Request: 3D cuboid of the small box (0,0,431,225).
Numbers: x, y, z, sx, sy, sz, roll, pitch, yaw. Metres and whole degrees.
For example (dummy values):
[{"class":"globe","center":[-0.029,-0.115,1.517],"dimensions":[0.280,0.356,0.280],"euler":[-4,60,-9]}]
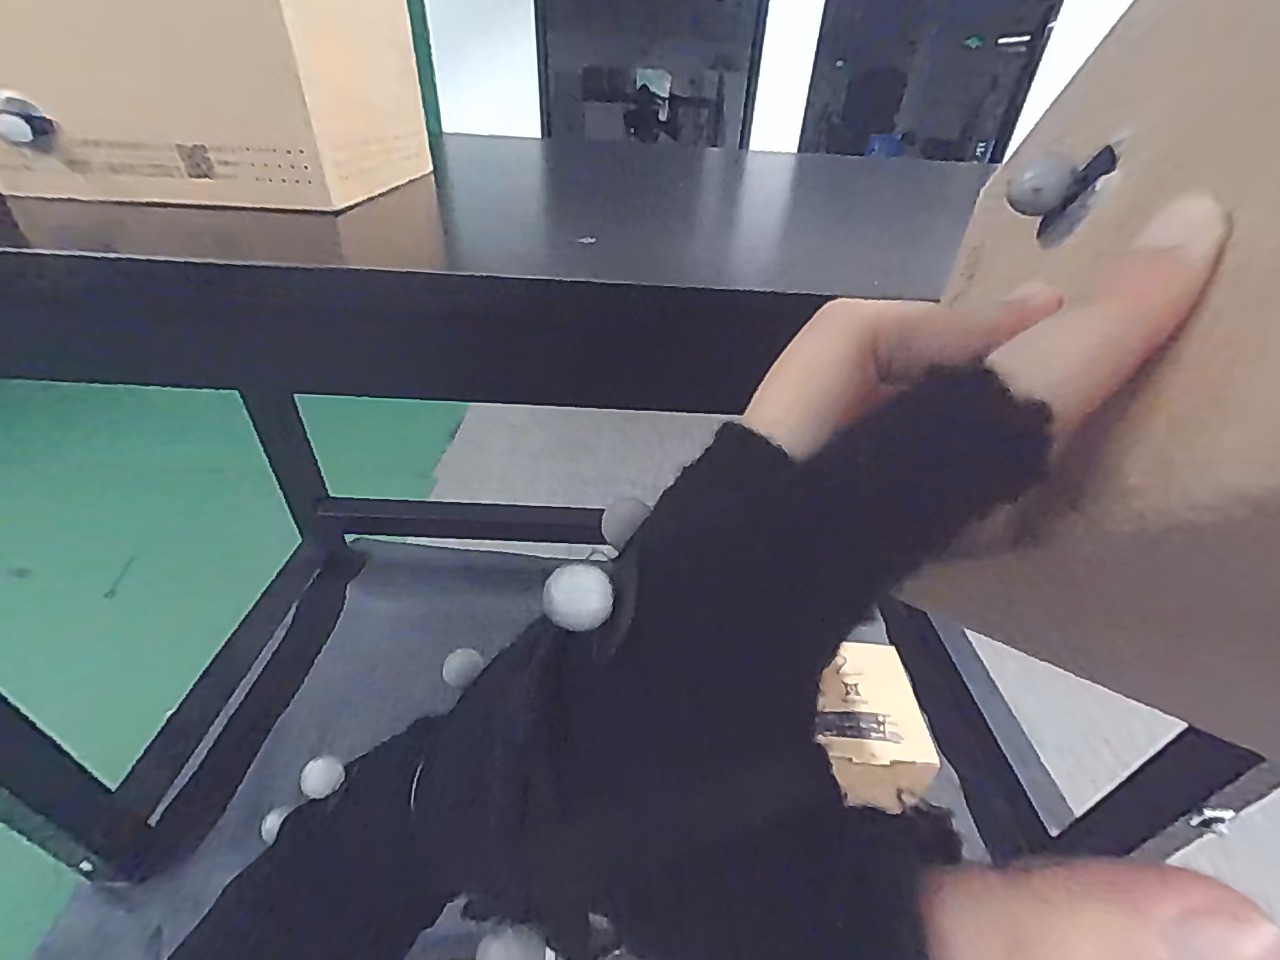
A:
[{"class":"small box","center":[-0.232,-0.250,0.303],"dimensions":[0.168,0.176,0.179],"euler":[2,35,-2]}]
